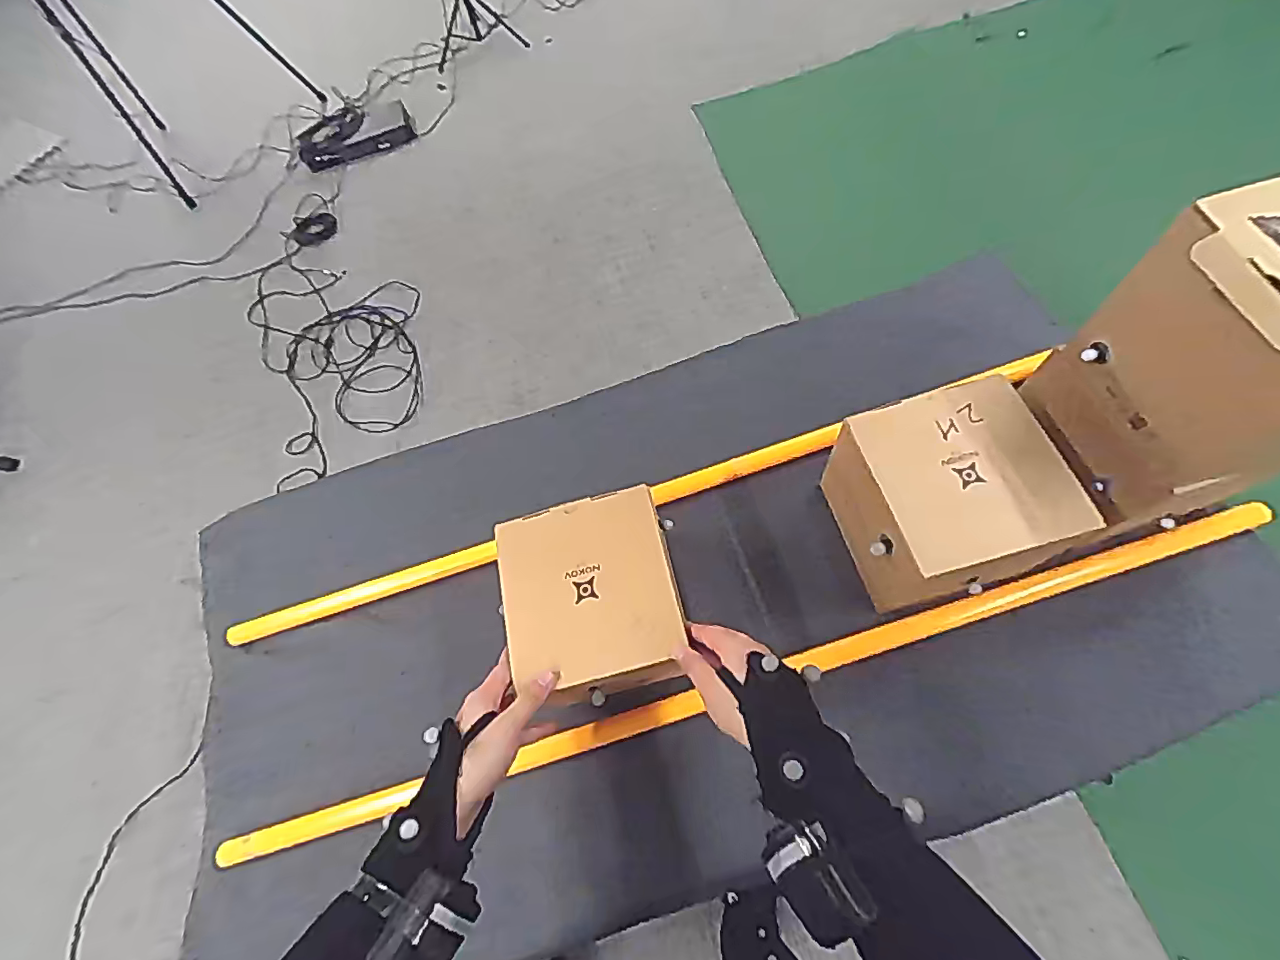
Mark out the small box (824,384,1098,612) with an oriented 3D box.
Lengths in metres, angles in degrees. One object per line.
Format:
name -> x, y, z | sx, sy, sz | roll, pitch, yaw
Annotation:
small box -> 0.314, 0.033, 0.576 | 0.168, 0.176, 0.179 | -16, 64, 3

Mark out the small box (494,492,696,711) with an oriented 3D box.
small box -> -0.041, 0.141, 0.586 | 0.168, 0.176, 0.179 | -16, 63, 1

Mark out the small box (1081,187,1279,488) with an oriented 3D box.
small box -> 0.507, -0.110, 0.430 | 0.179, 0.176, 0.168 | -14, 64, 2
